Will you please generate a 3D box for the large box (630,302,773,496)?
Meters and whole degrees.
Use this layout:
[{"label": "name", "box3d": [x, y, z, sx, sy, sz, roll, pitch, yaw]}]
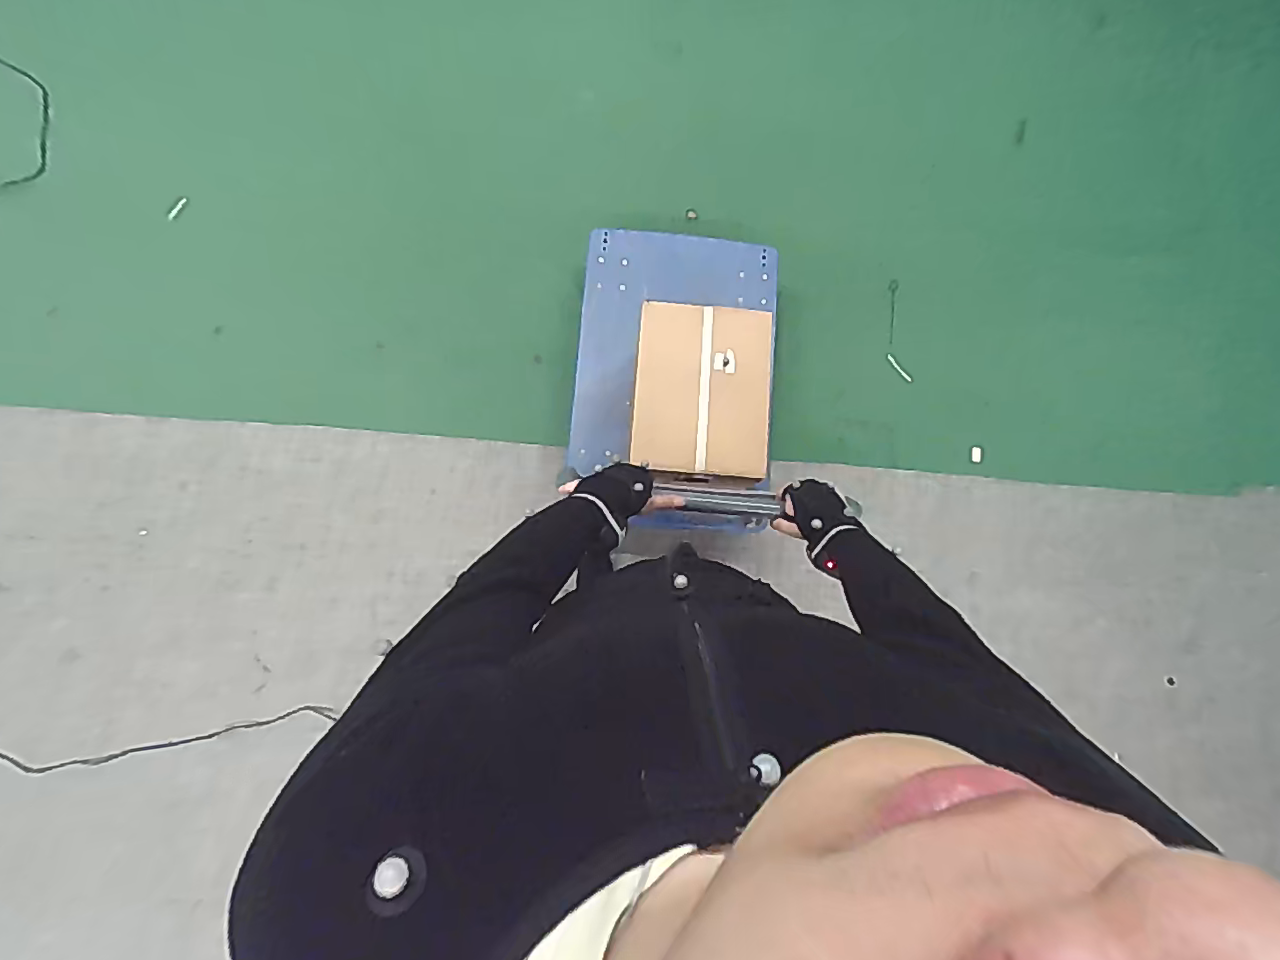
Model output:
[{"label": "large box", "box3d": [0.141, -0.182, 1.373, 0.320, 0.320, 0.408, 5, 80, -3]}]
